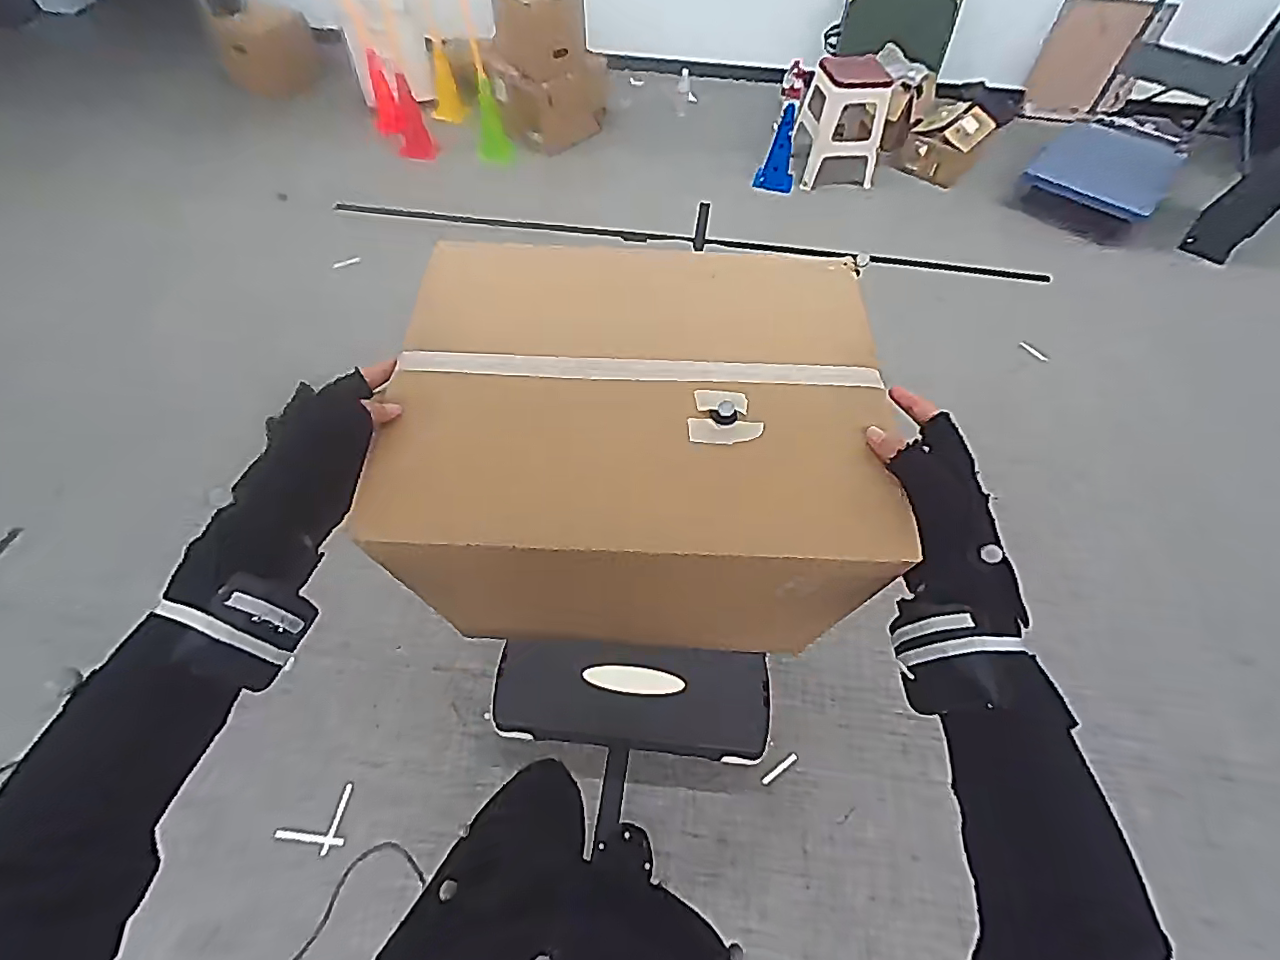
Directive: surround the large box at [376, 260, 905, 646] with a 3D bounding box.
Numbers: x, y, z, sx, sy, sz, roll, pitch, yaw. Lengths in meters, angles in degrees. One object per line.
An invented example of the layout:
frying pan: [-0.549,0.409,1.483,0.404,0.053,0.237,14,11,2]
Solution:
large box: [-0.001,-0.009,0.600,0.408,0.320,0.320,3,61,0]
